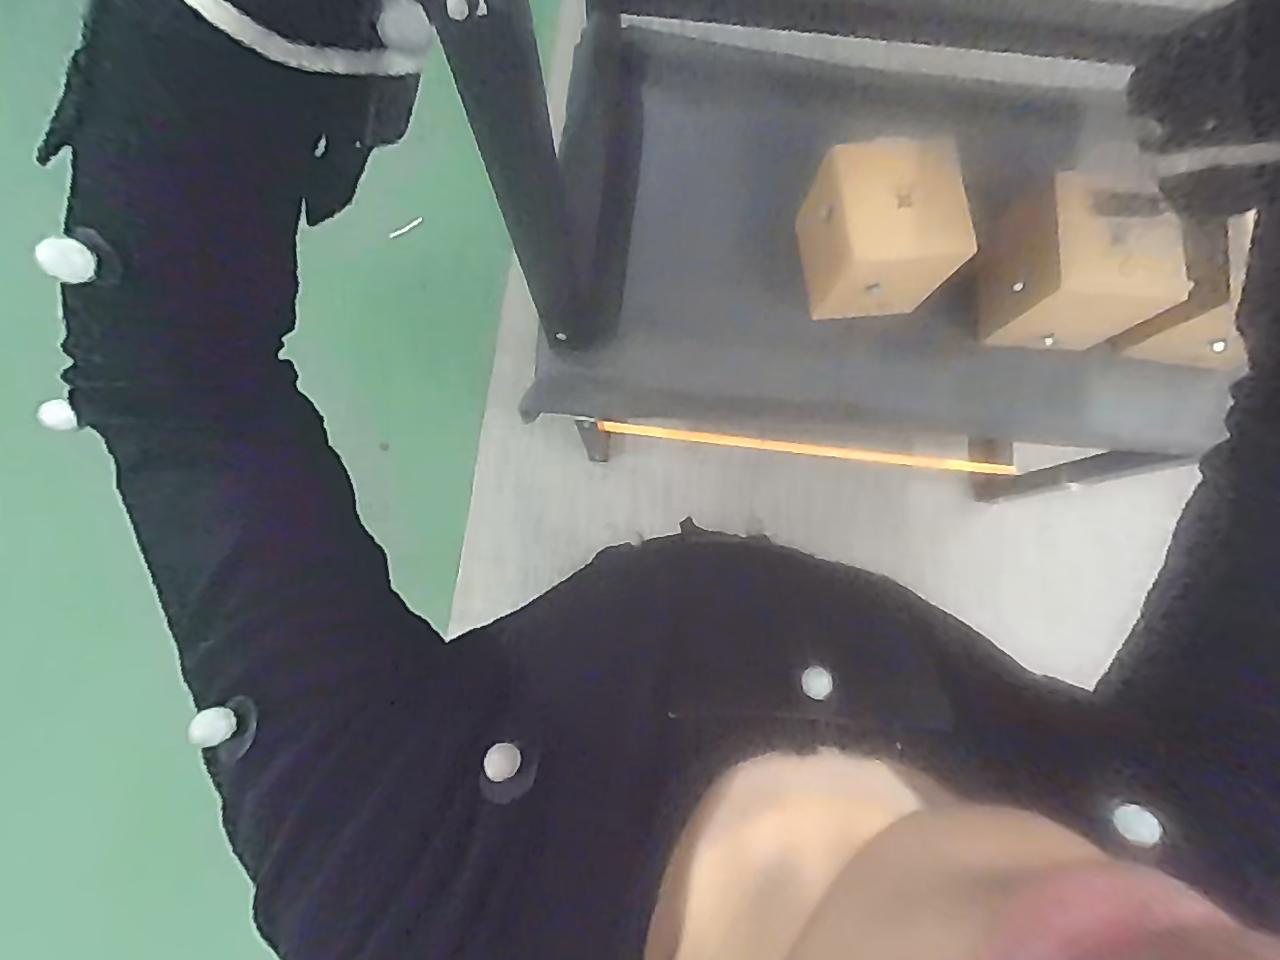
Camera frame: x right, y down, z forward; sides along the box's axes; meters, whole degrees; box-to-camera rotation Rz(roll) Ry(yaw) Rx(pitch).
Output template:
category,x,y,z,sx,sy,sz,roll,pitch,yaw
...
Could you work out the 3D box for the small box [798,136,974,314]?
category,x,y,z,sx,sy,sz,roll,pitch,yaw
small box,0.342,-0.356,0.787,0.168,0.176,0.179,-5,80,-2
